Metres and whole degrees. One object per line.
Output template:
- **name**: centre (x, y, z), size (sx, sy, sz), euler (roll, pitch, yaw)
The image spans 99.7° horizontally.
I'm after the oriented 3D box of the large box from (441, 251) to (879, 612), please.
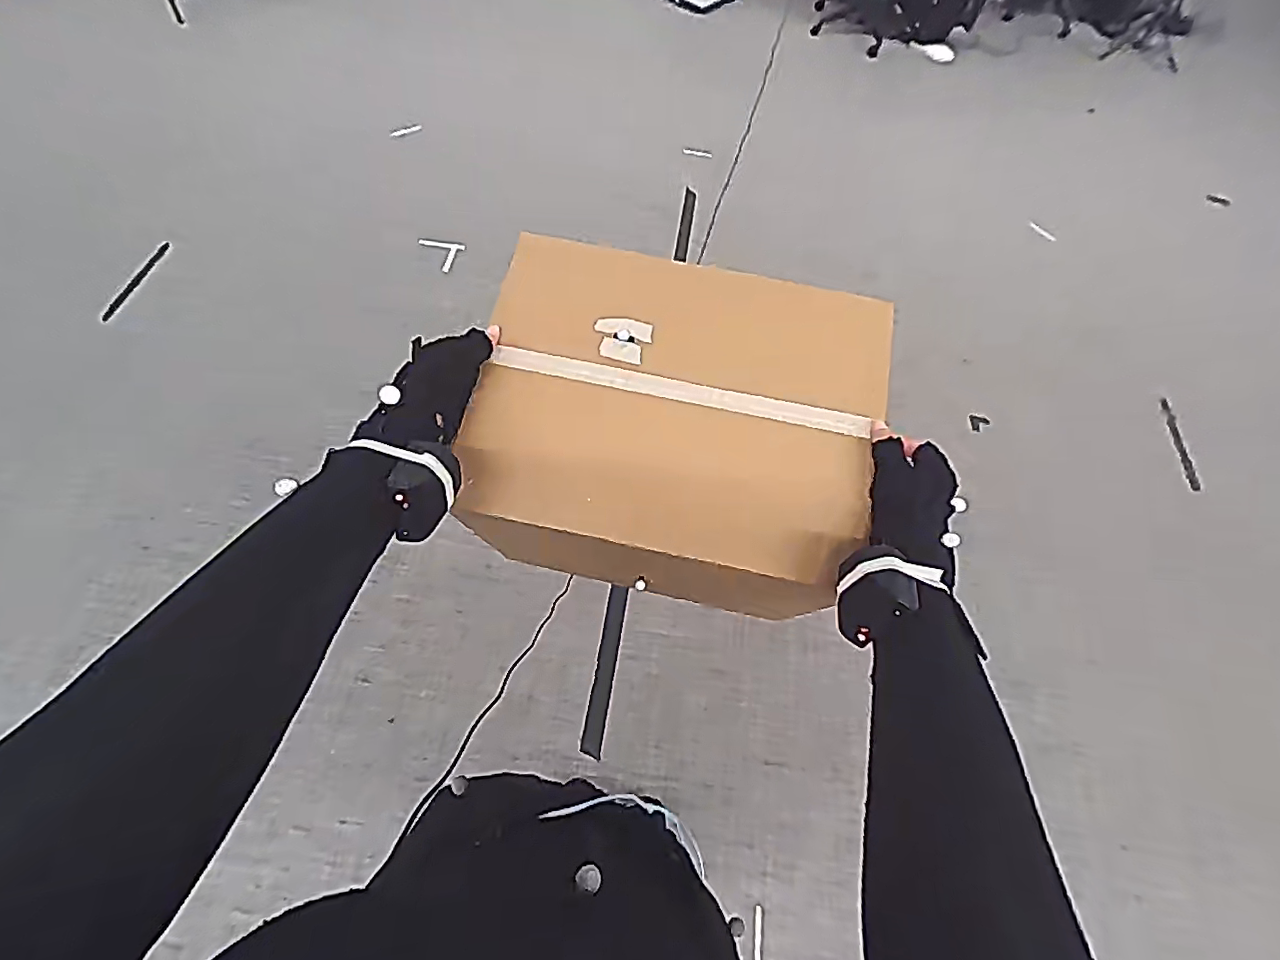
- **large box**: centre (0.036, -0.033, 0.686), size (0.408, 0.320, 0.320), euler (12, 71, 4)
